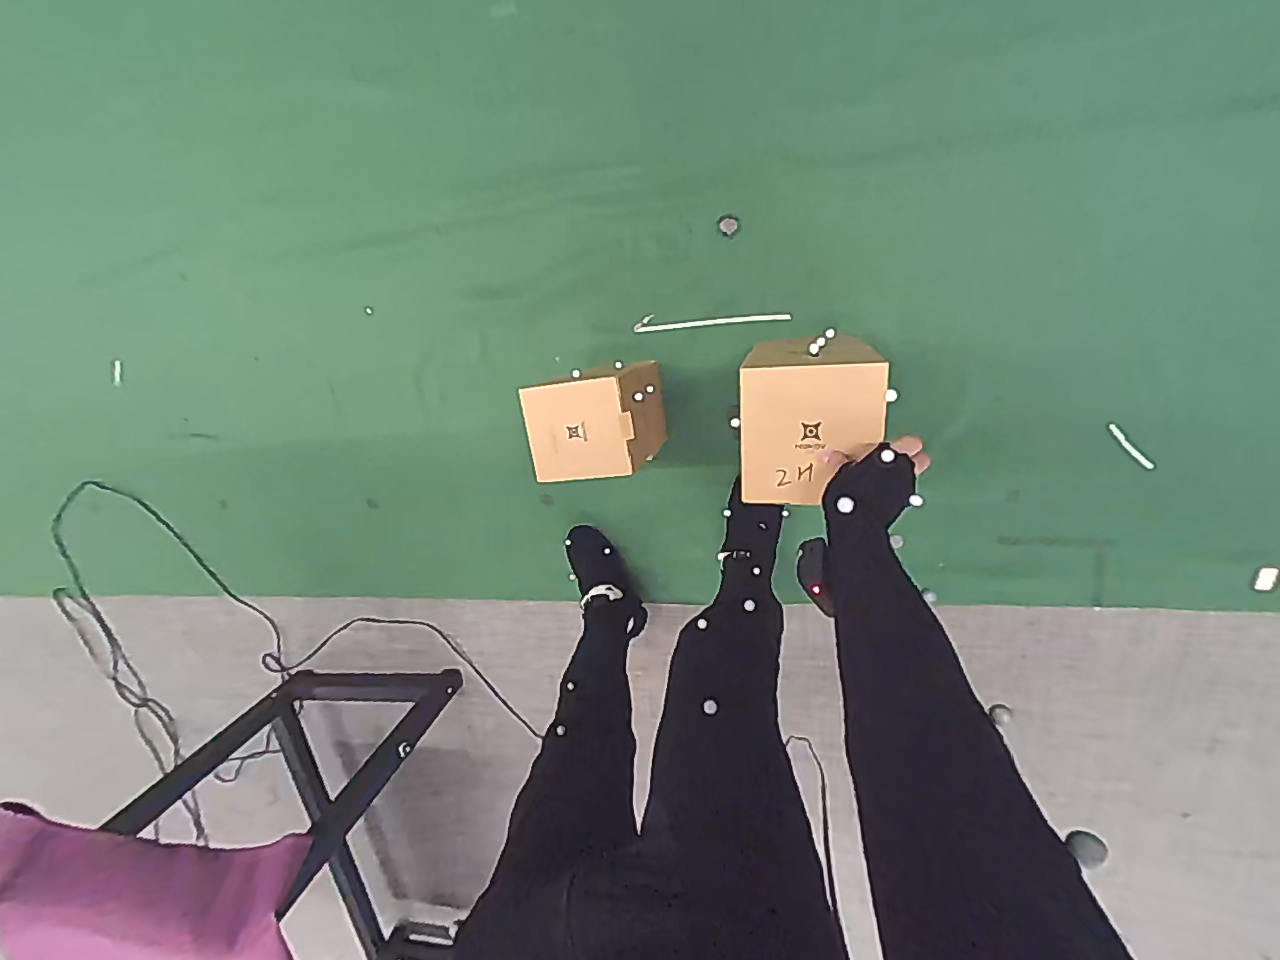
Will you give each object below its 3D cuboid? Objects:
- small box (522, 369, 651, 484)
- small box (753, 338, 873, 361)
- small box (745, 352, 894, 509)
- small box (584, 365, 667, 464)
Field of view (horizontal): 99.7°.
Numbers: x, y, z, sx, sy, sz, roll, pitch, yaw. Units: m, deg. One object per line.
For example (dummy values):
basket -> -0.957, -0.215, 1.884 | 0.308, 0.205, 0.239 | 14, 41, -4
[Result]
small box -> -0.083, -0.100, 0.963 | 0.179, 0.176, 0.168 | -4, 106, 15
small box -> 0.270, -0.126, 0.868 | 0.168, 0.176, 0.179 | -1, 109, 13
small box -> 0.227, -0.074, 0.717 | 0.168, 0.176, 0.179 | 1, 110, 15
small box -> -0.046, -0.133, 1.118 | 0.168, 0.176, 0.179 | -5, 106, 15
